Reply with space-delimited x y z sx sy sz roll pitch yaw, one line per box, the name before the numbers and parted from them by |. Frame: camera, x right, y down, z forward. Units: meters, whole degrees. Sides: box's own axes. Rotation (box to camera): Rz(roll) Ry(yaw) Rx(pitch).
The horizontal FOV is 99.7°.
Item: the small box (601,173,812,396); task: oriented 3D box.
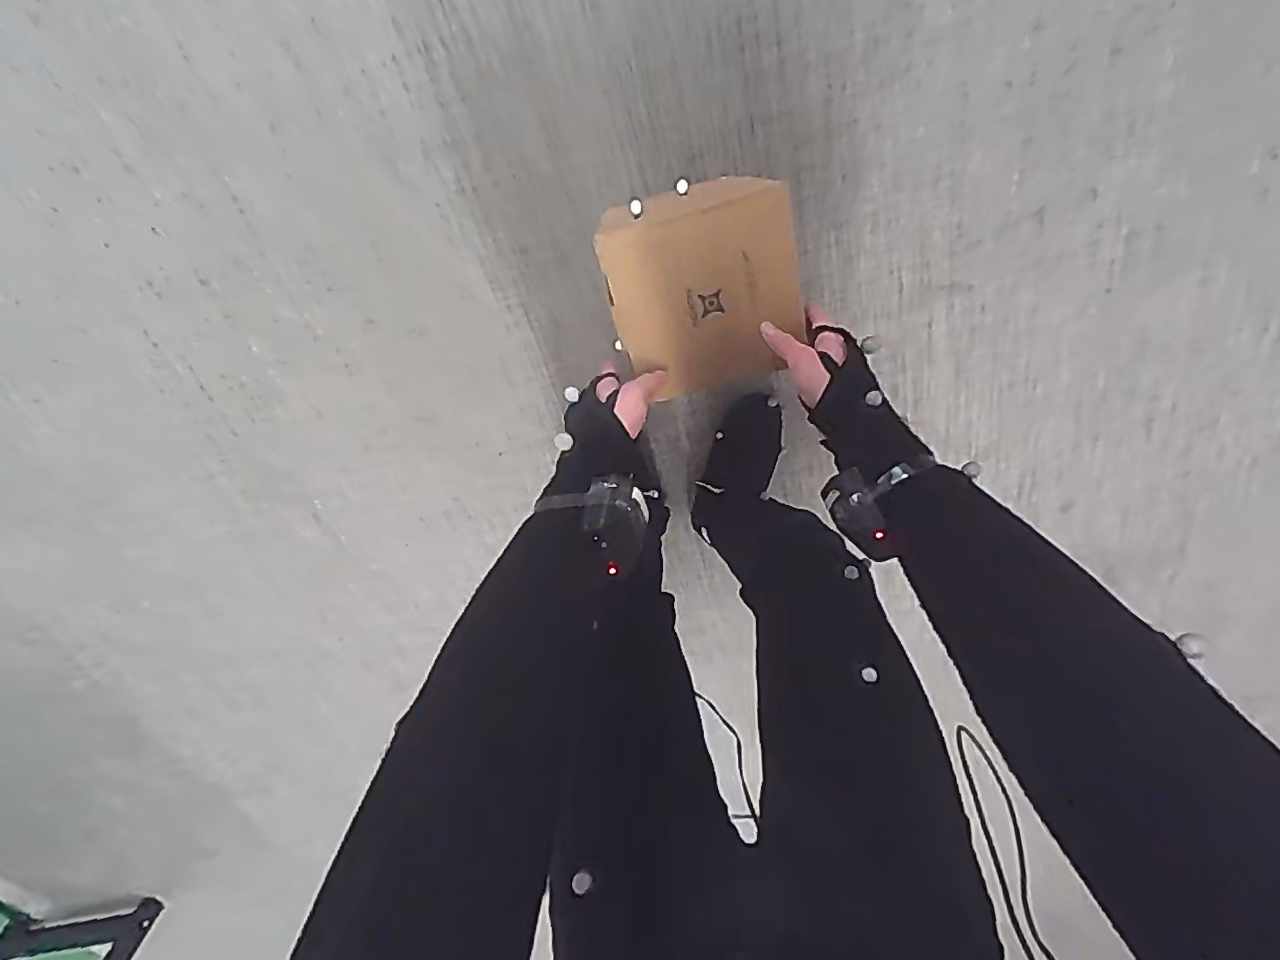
small box | 0.066 -0.213 0.580 0.179 0.176 0.168 -15 120 5
